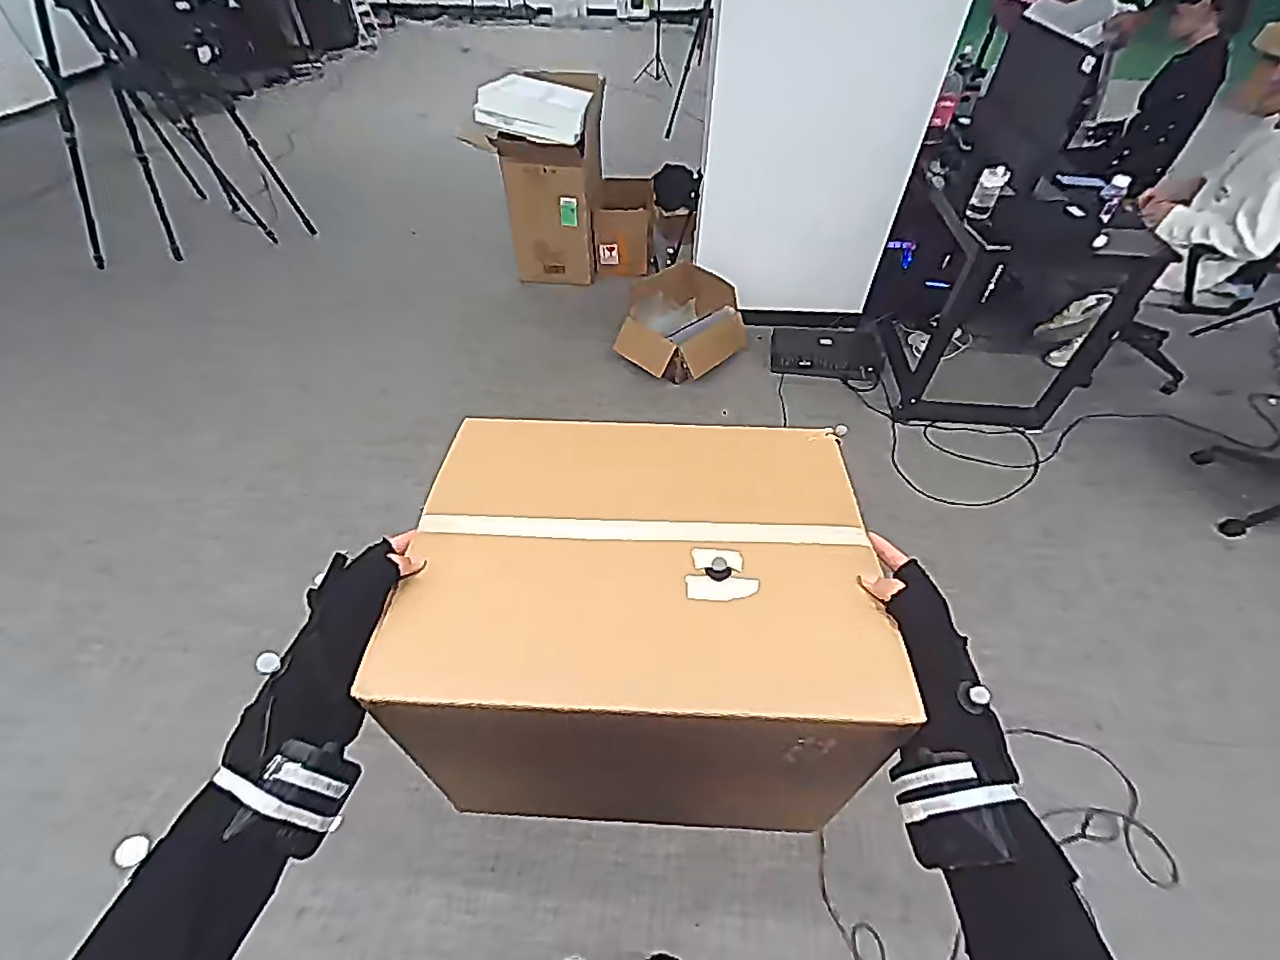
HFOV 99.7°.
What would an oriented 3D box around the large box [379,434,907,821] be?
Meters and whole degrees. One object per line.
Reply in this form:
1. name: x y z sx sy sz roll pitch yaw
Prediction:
1. large box: 0.003 0.164 0.608 0.408 0.320 0.320 2 45 2
